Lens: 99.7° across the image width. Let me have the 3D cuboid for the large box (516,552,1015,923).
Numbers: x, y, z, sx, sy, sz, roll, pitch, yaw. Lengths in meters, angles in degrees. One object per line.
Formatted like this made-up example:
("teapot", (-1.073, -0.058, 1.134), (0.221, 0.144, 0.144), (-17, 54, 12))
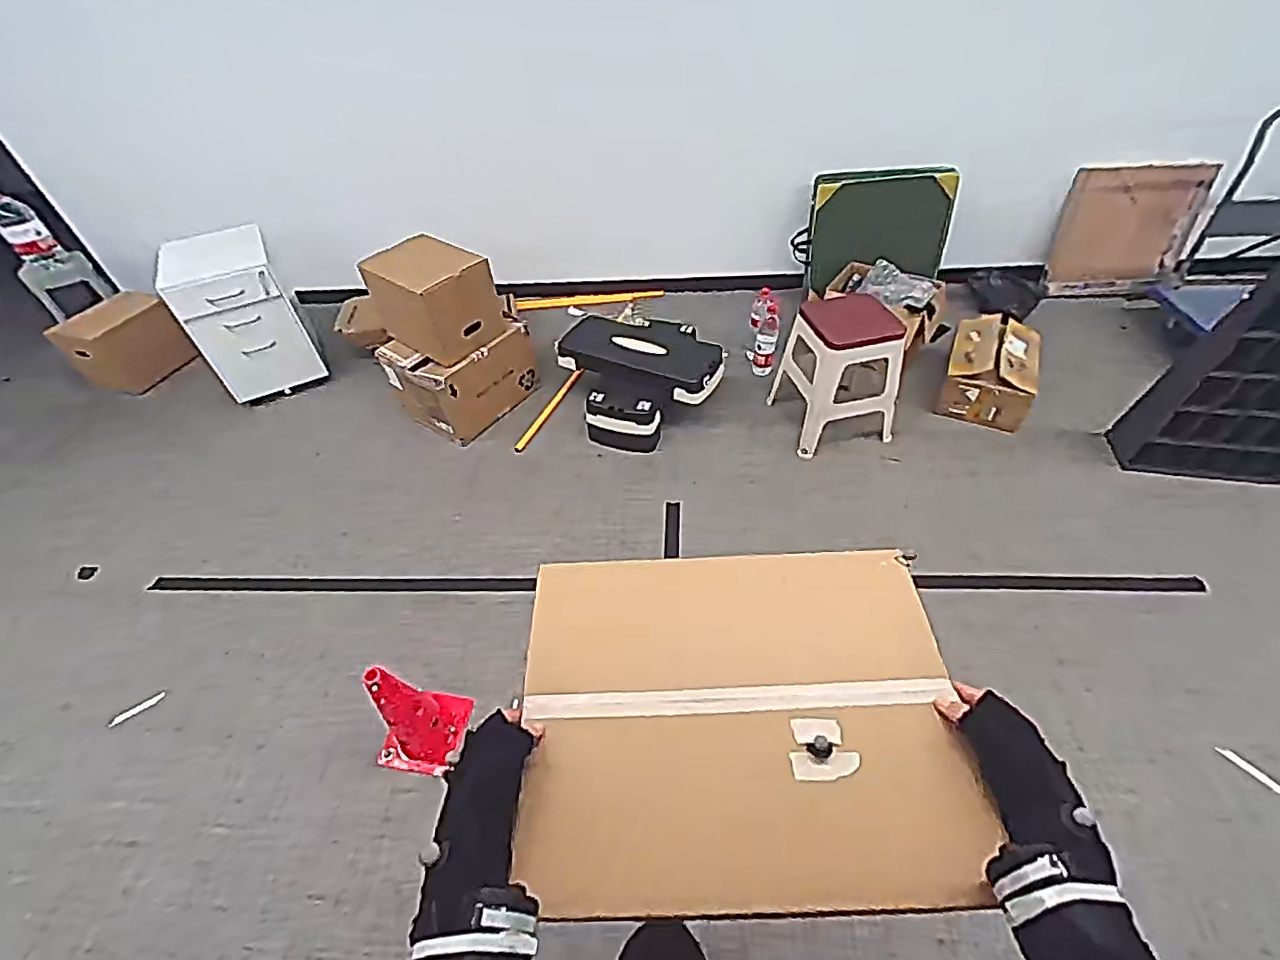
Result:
("large box", (0.098, 0.306, 0.631), (0.408, 0.320, 0.320), (-3, 51, 1))

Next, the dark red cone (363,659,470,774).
("dark red cone", (-0.574, 0.542, 1.305), (0.201, 0.394, 0.202), (5, 47, 8))
